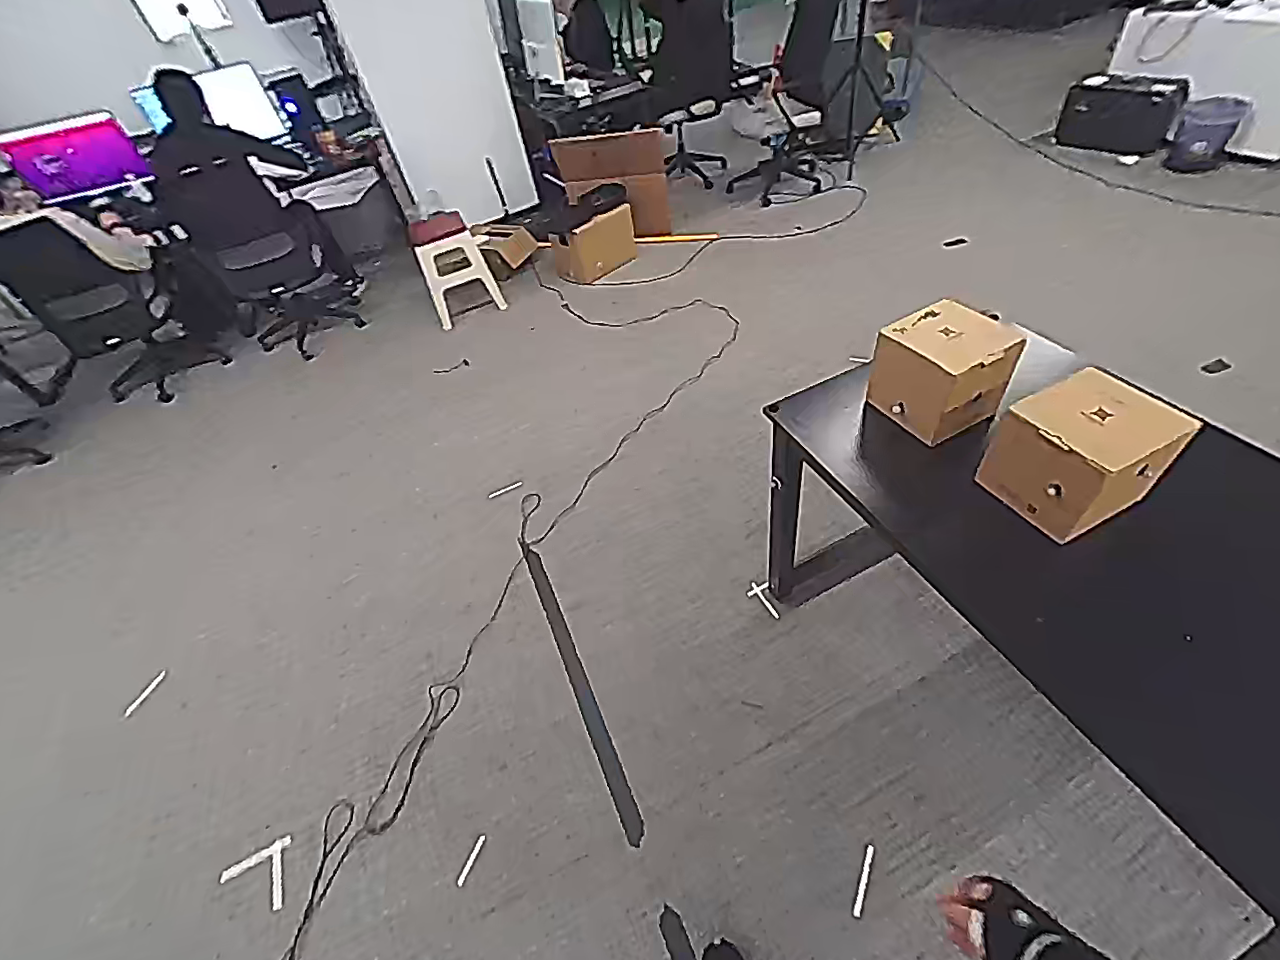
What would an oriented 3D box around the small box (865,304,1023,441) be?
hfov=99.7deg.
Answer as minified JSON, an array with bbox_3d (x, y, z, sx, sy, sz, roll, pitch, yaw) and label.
[{"bbox_3d":[0.558,-0.195,1.018,0.168,0.176,0.179,-26,49,-13],"label":"small box"}]

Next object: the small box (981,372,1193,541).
[{"bbox_3d":[0.676,-0.034,0.848,0.179,0.176,0.168,-24,49,-12],"label":"small box"}]
